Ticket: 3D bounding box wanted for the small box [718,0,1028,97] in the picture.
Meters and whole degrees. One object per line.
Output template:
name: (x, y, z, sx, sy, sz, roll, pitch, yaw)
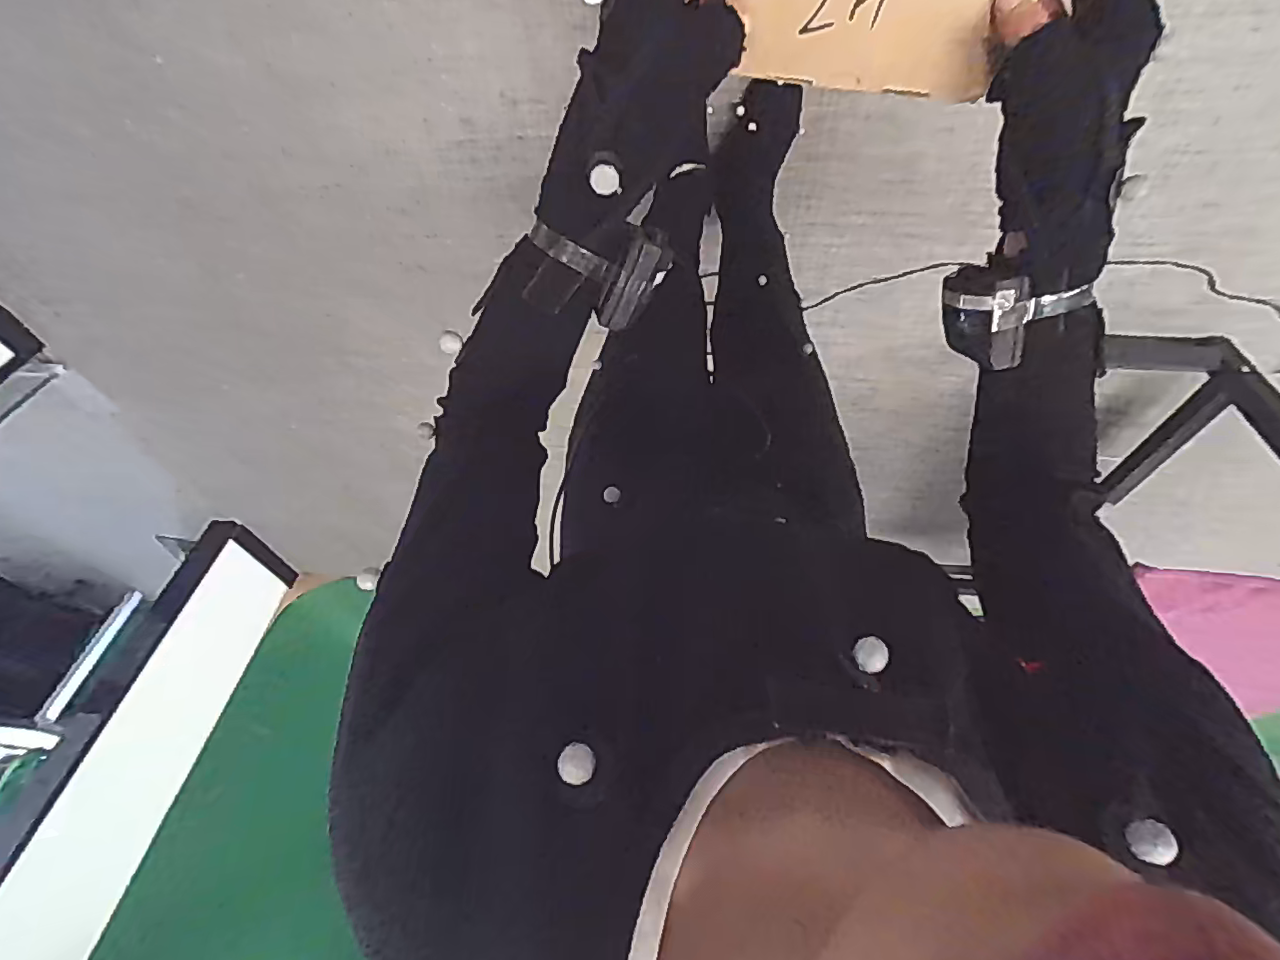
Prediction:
small box: (0.139, -0.358, 0.301, 0.168, 0.176, 0.179, 6, 150, -1)
